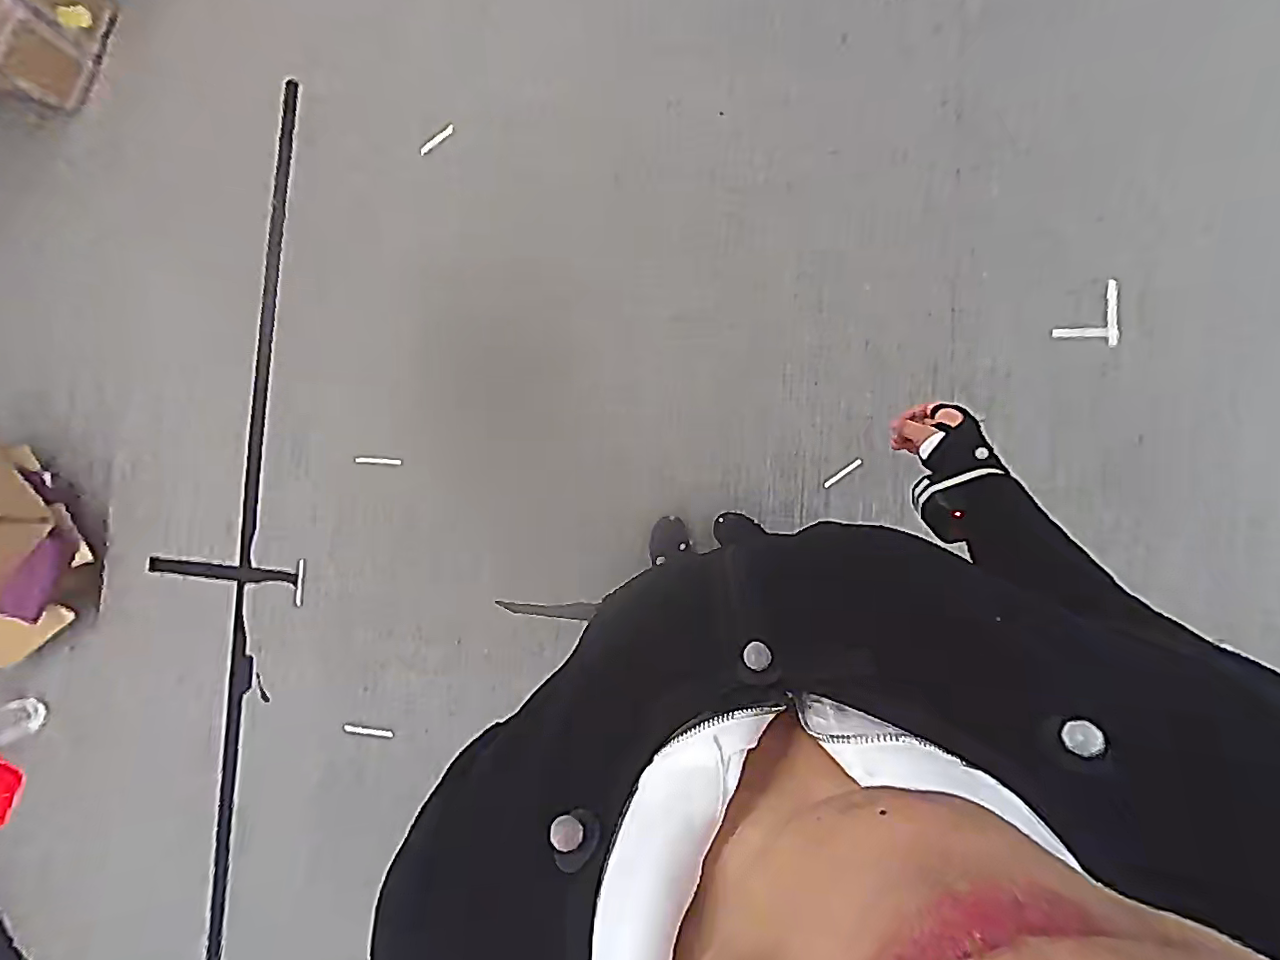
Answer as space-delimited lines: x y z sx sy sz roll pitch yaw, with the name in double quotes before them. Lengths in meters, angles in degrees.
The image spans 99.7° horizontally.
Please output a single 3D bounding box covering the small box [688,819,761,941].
"small box" 0.212 1.002 1.367 0.168 0.176 0.179 3 88 7
